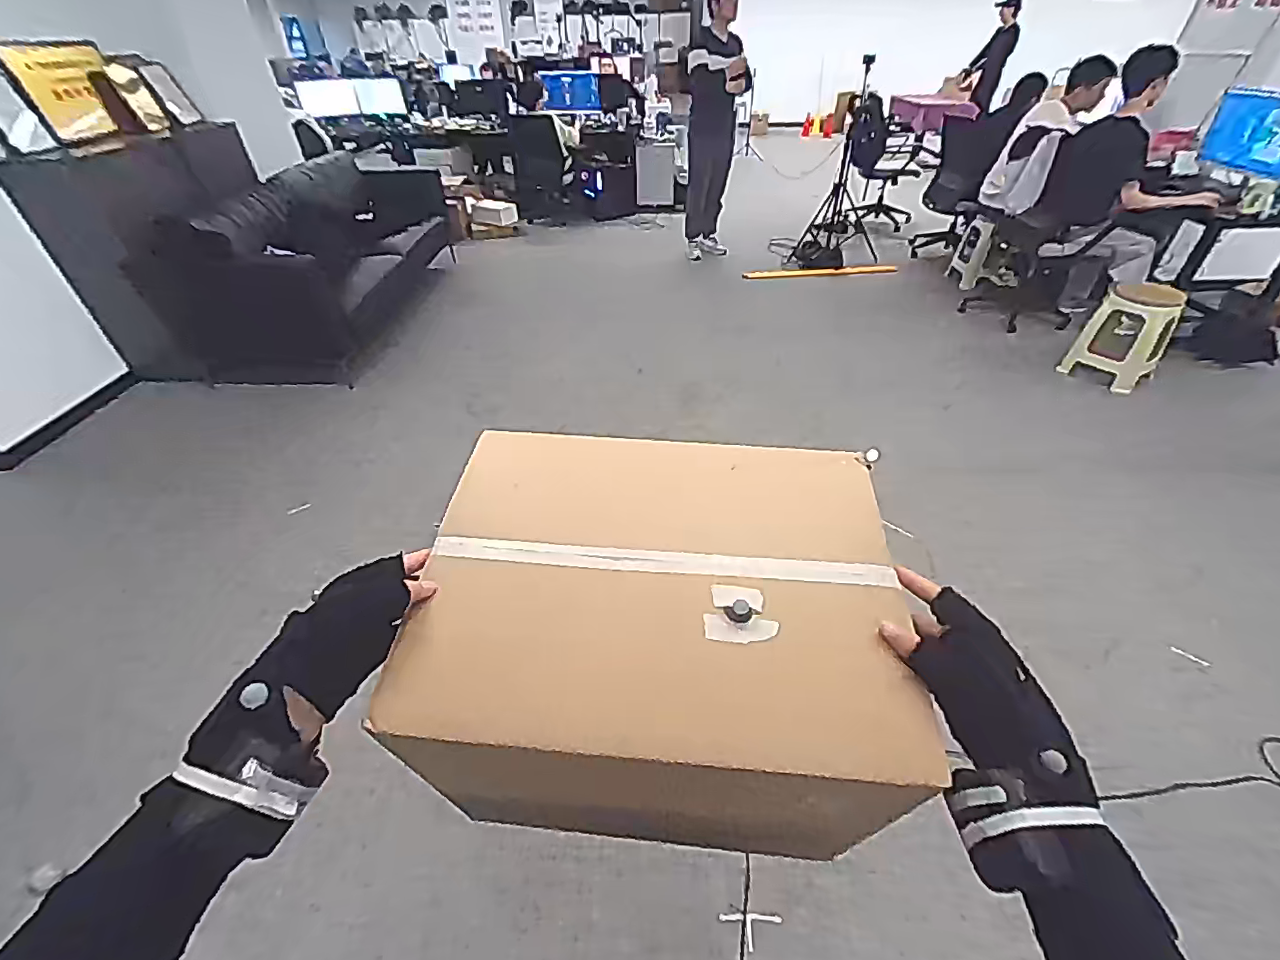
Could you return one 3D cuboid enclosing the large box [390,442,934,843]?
[{"bbox_3d":[0.022,0.178,0.596,0.408,0.320,0.320,3,48,4],"label":"large box"}]
